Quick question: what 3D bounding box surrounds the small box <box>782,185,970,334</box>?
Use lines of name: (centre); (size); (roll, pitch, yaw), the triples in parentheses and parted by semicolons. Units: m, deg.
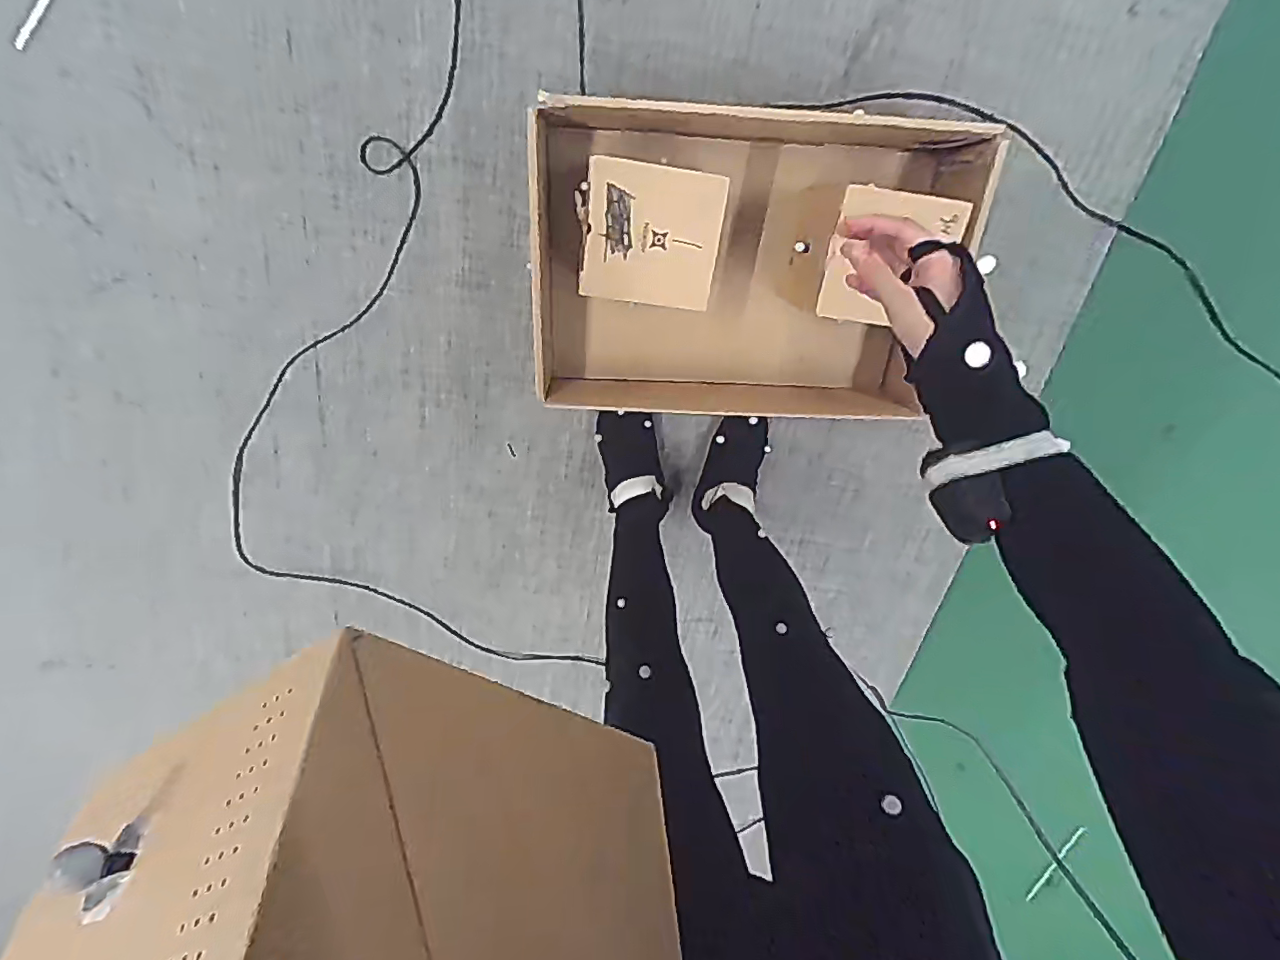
small box: (0.328, -0.323, 0.797); (0.179, 0.176, 0.168); (7, 115, -6)
